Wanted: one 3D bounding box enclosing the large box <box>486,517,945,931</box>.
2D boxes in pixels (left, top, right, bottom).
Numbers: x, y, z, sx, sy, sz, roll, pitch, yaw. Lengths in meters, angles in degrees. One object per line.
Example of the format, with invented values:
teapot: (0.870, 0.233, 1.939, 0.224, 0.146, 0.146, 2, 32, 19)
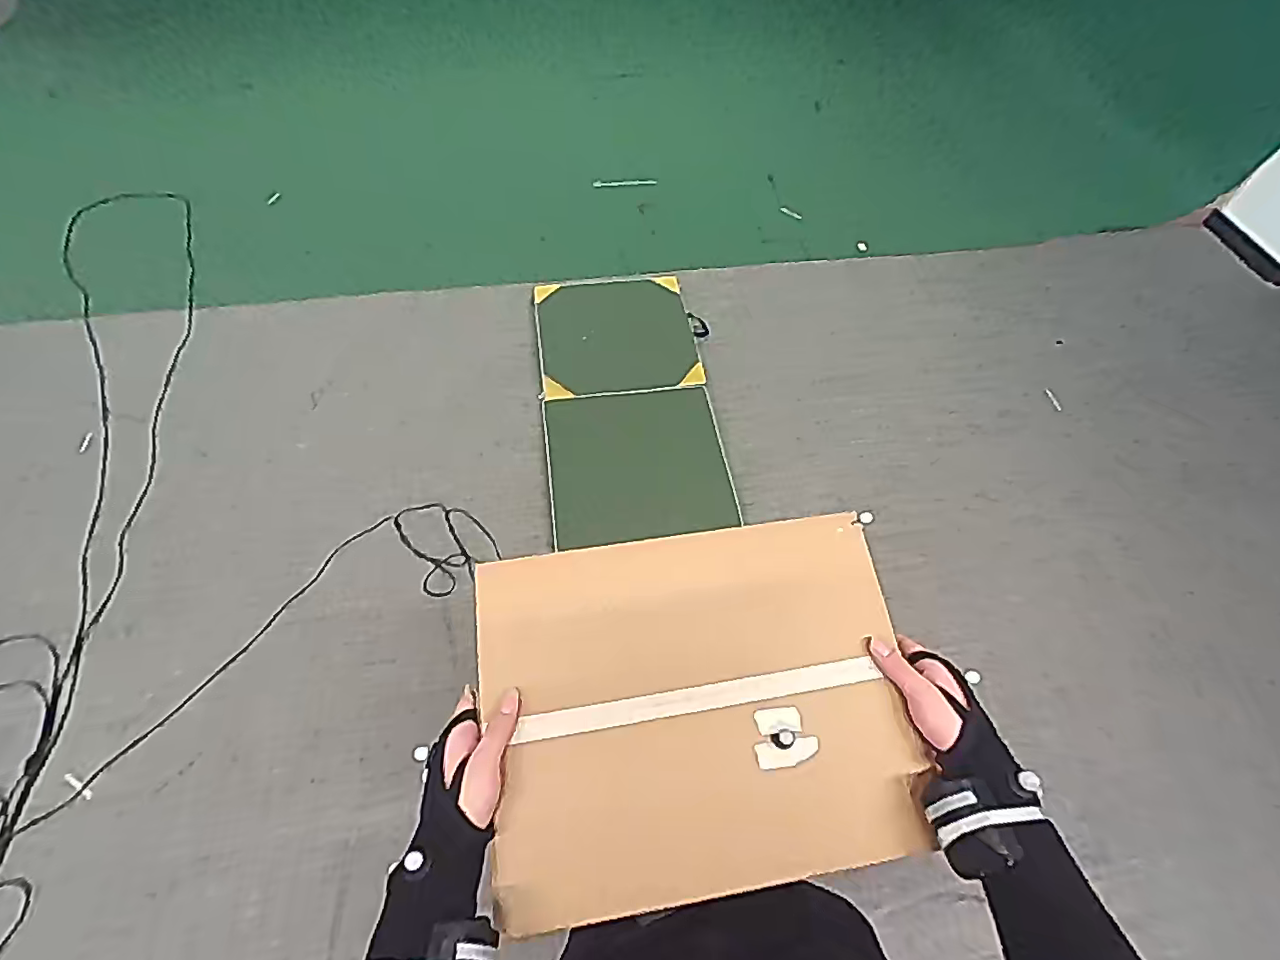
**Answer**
large box: (0.051, 0.263, 0.660, 0.408, 0.320, 0.320, -7, 70, -7)
